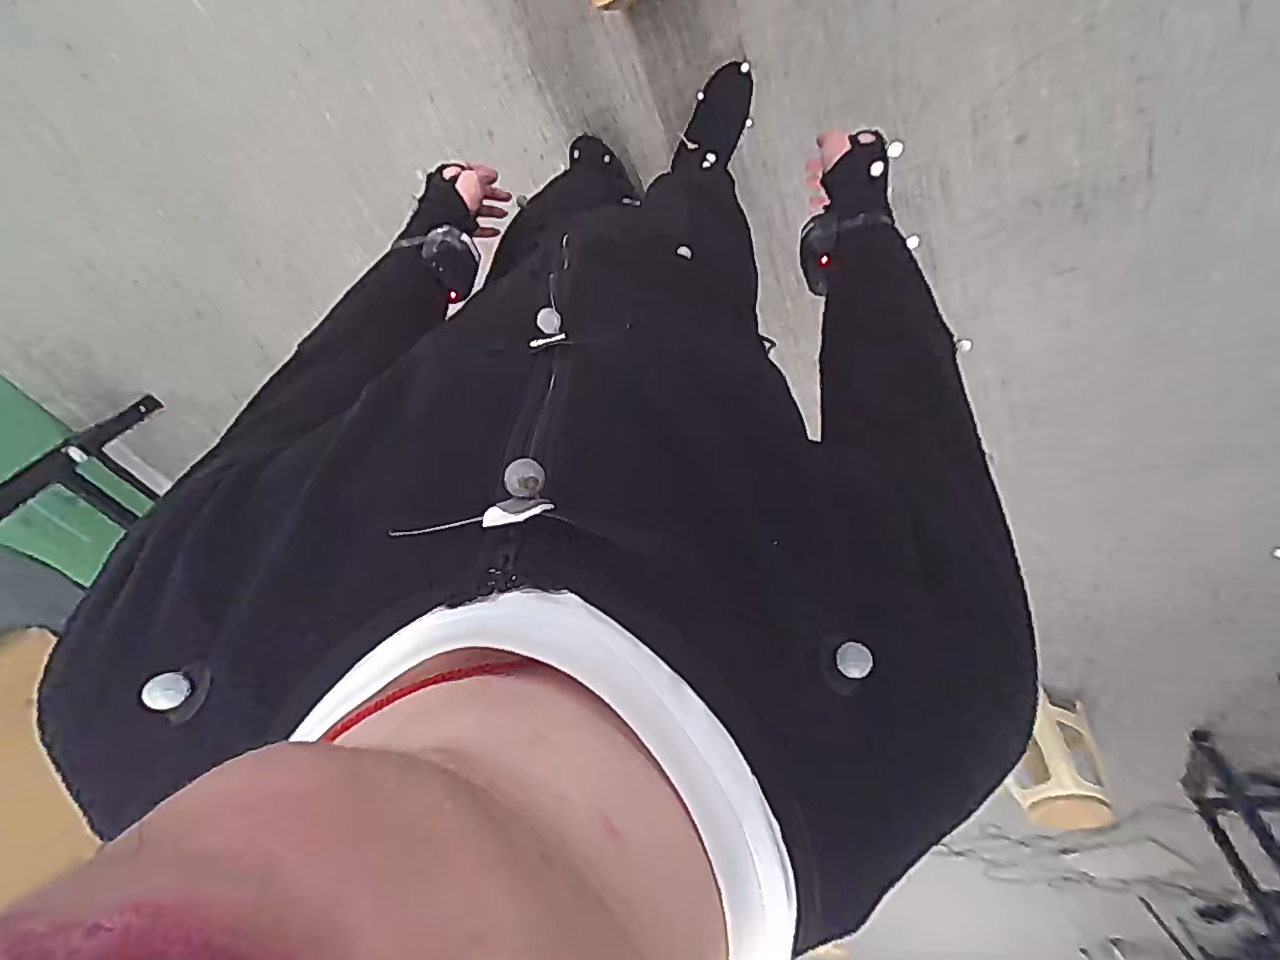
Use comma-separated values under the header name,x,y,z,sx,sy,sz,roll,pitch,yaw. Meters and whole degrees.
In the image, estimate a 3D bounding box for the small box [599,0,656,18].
name,x,y,z,sx,sy,sz,roll,pitch,yaw
small box,0.000,-0.859,0.840,0.179,0.176,0.168,-17,125,21

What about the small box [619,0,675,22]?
name,x,y,z,sx,sy,sz,roll,pitch,yaw
small box,0.021,-0.960,0.965,0.179,0.176,0.168,-15,125,20
